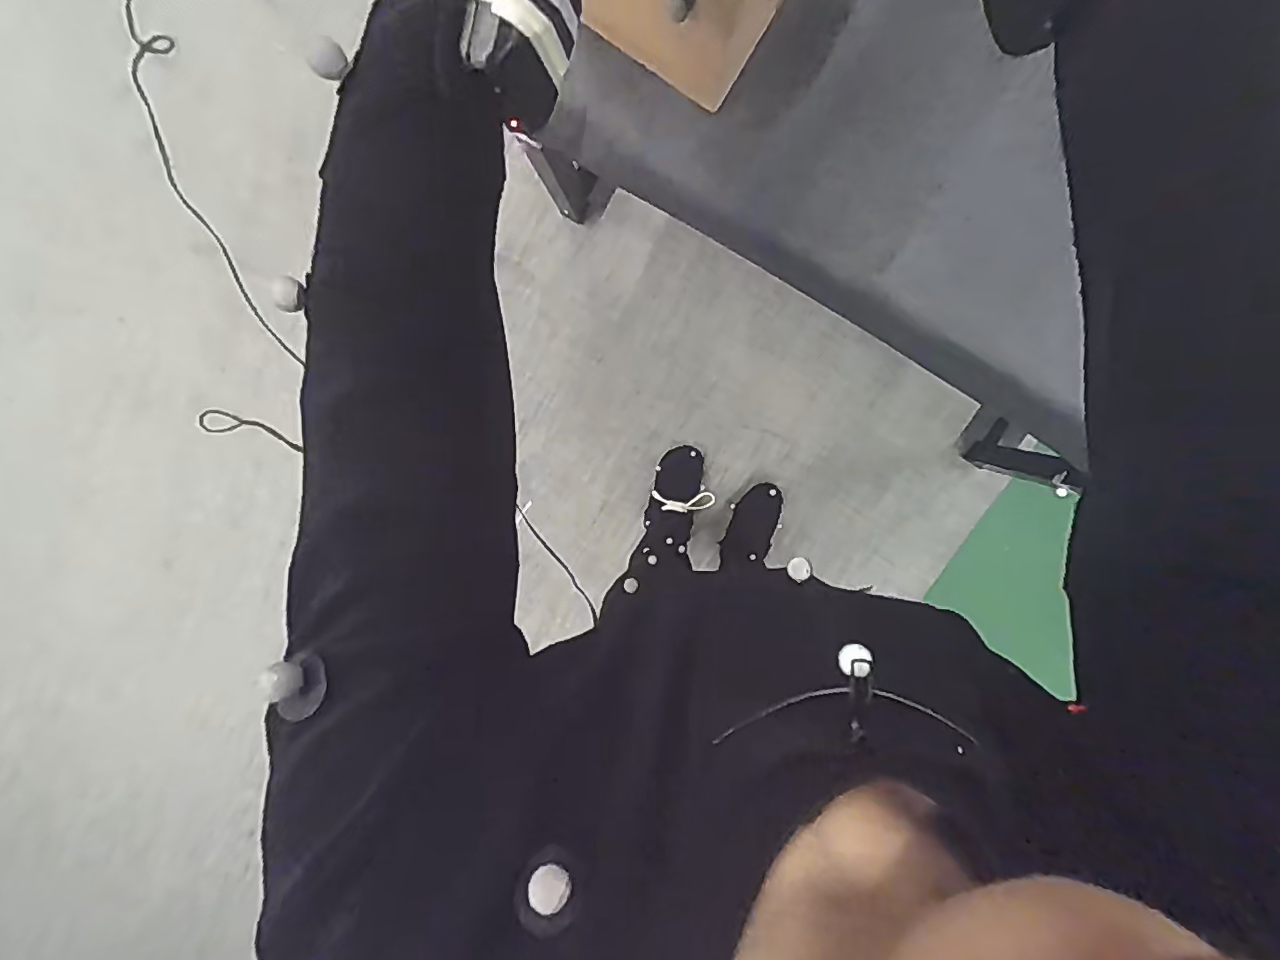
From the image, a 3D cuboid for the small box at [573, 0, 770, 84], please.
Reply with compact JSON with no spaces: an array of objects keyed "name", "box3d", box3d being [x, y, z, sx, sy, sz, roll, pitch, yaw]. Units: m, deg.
[{"name":"small box","box3d":[0.043,-0.466,0.430,0.179,0.176,0.168,32,98,-5]}]
